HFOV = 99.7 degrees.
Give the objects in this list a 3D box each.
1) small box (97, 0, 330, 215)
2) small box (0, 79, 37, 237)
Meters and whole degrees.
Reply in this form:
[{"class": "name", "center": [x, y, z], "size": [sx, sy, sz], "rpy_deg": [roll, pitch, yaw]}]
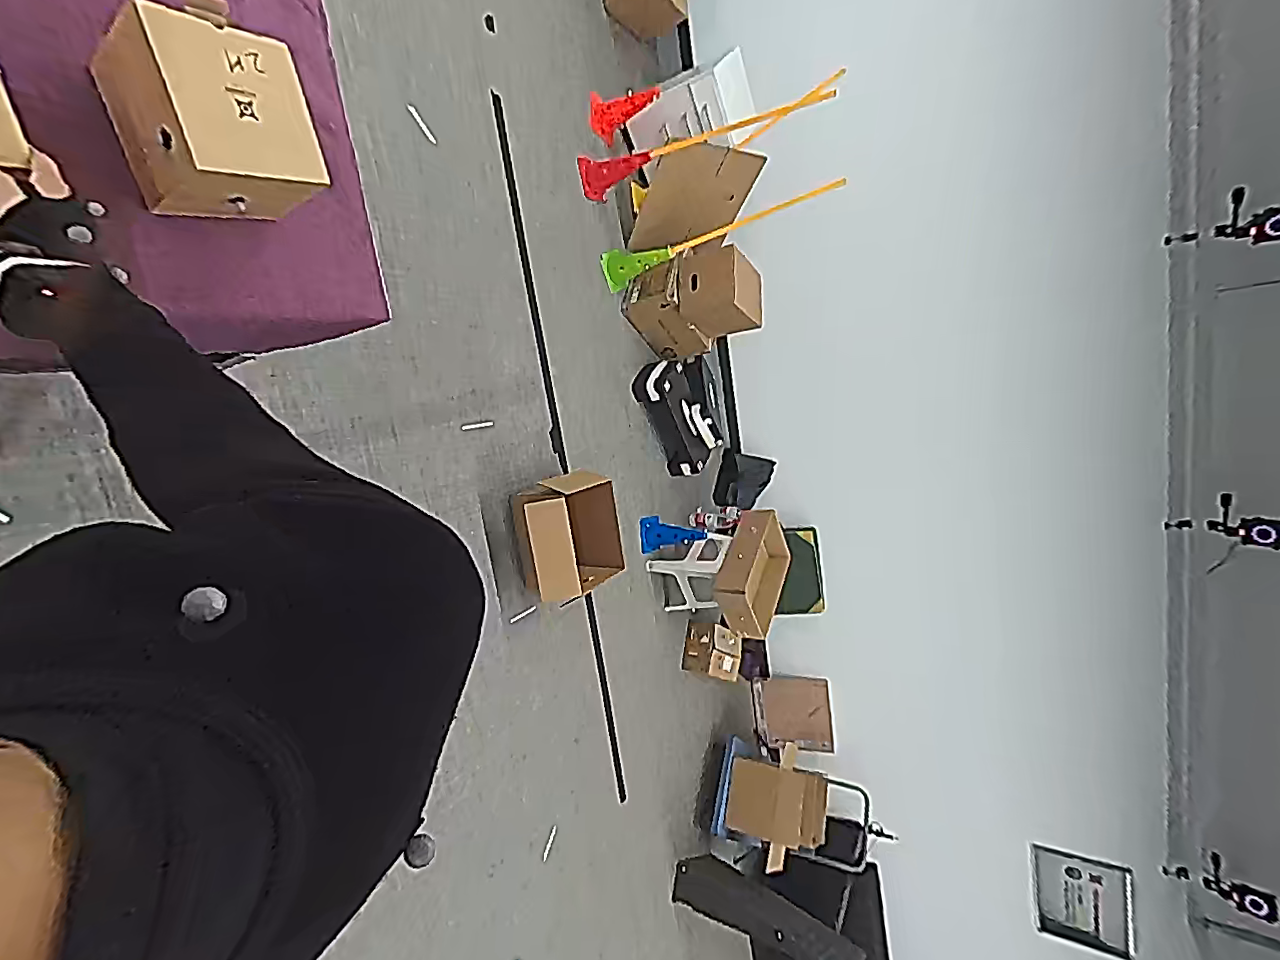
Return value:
[{"class": "small box", "center": [-0.556, -0.466, 0.713], "size": [0.168, 0.176, 0.179], "rpy_deg": [-33, 115, -53]}, {"class": "small box", "center": [-0.690, -0.338, 0.477], "size": [0.168, 0.176, 0.179], "rpy_deg": [-26, 105, -49]}]
